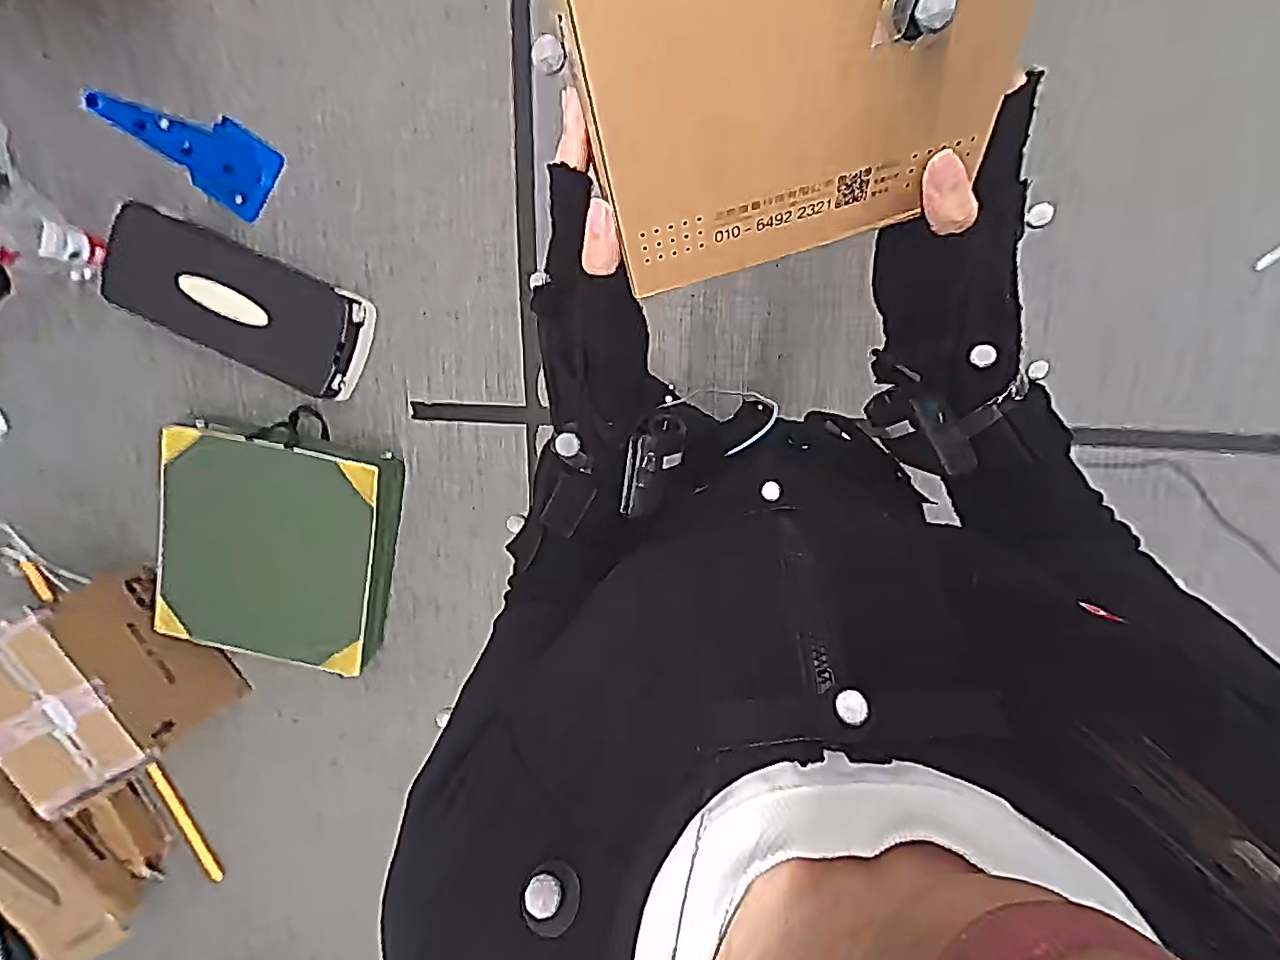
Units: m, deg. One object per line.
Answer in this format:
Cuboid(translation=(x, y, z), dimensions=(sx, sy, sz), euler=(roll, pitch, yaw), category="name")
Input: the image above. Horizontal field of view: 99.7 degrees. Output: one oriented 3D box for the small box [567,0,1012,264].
Cuboid(translation=(0.053, -0.226, 0.254), dimensions=(0.168, 0.176, 0.179), euler=(-14, 57, 2), category="small box")
